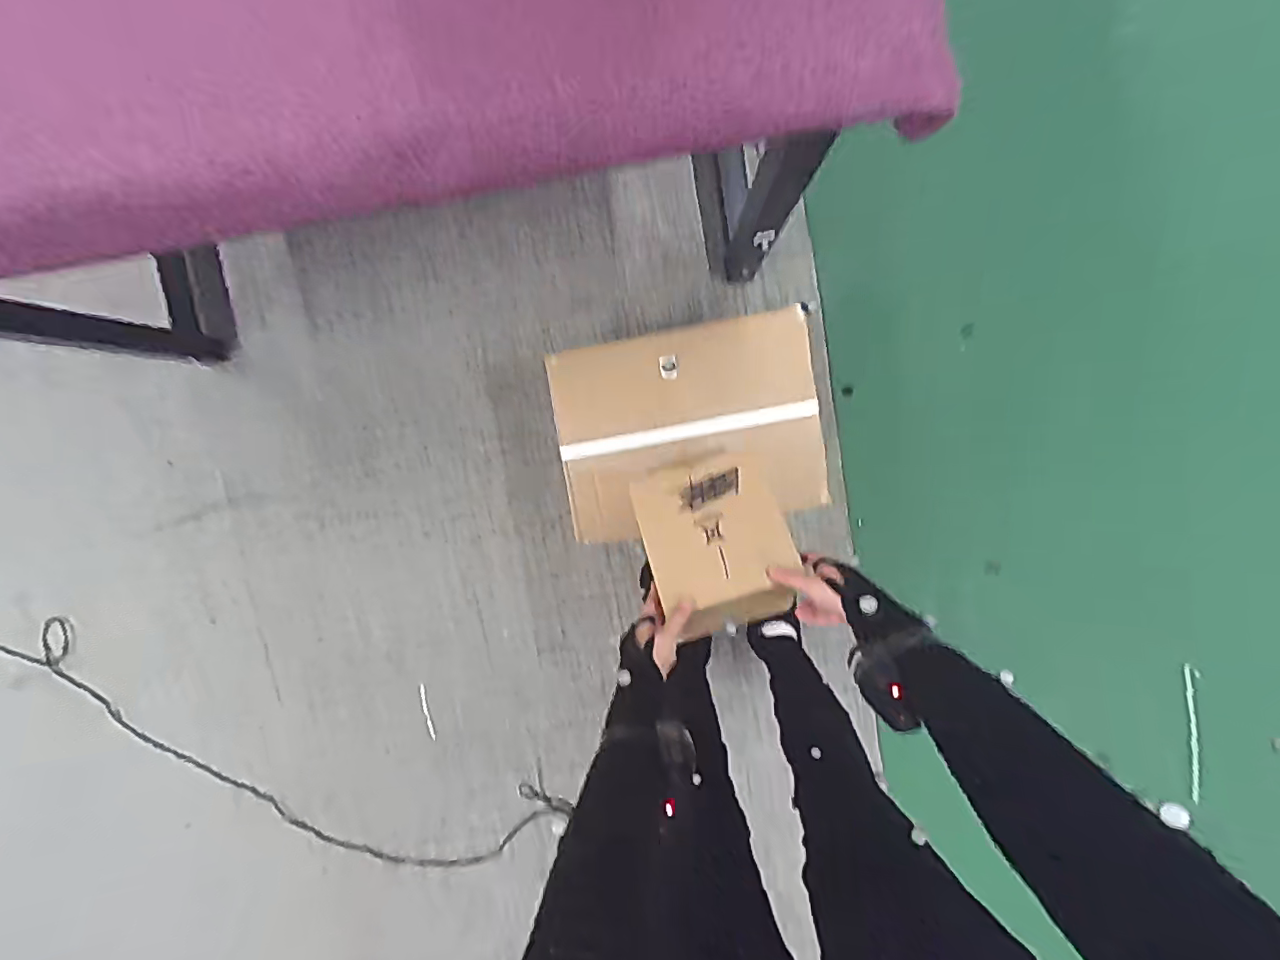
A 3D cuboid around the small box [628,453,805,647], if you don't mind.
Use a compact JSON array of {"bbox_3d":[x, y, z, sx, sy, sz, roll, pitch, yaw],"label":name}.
[{"bbox_3d":[0.090,0.097,0.694,0.168,0.176,0.179,-16,63,0],"label":"small box"}]
